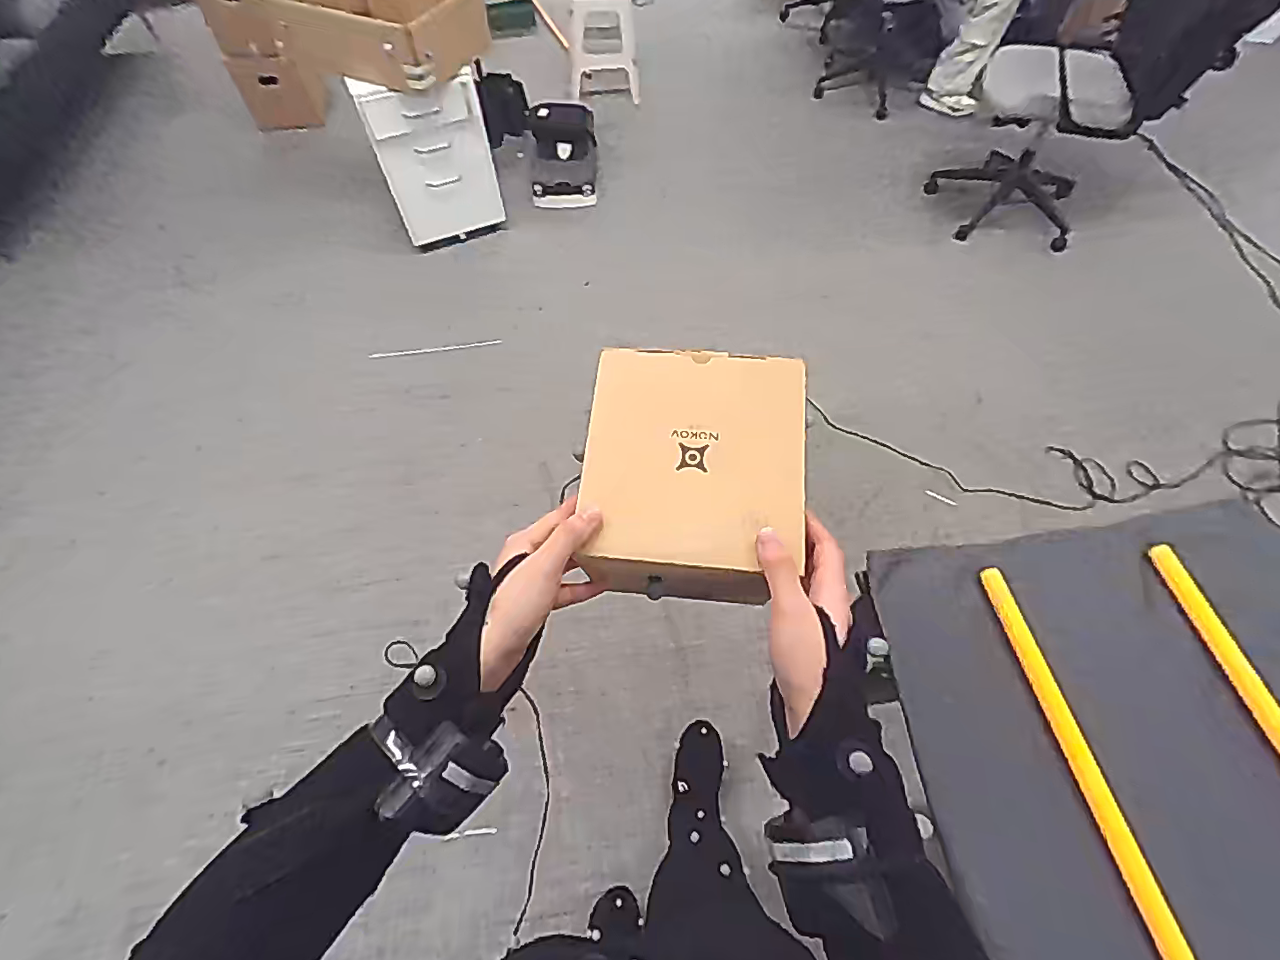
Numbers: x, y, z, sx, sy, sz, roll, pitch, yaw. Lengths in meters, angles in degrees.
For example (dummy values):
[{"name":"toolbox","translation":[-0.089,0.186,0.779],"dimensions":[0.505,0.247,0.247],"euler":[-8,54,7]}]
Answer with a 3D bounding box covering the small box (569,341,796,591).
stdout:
[{"name":"small box","translation":[0.042,-0.002,0.489],"dimensions":[0.168,0.176,0.179],"euler":[4,68,5]}]
